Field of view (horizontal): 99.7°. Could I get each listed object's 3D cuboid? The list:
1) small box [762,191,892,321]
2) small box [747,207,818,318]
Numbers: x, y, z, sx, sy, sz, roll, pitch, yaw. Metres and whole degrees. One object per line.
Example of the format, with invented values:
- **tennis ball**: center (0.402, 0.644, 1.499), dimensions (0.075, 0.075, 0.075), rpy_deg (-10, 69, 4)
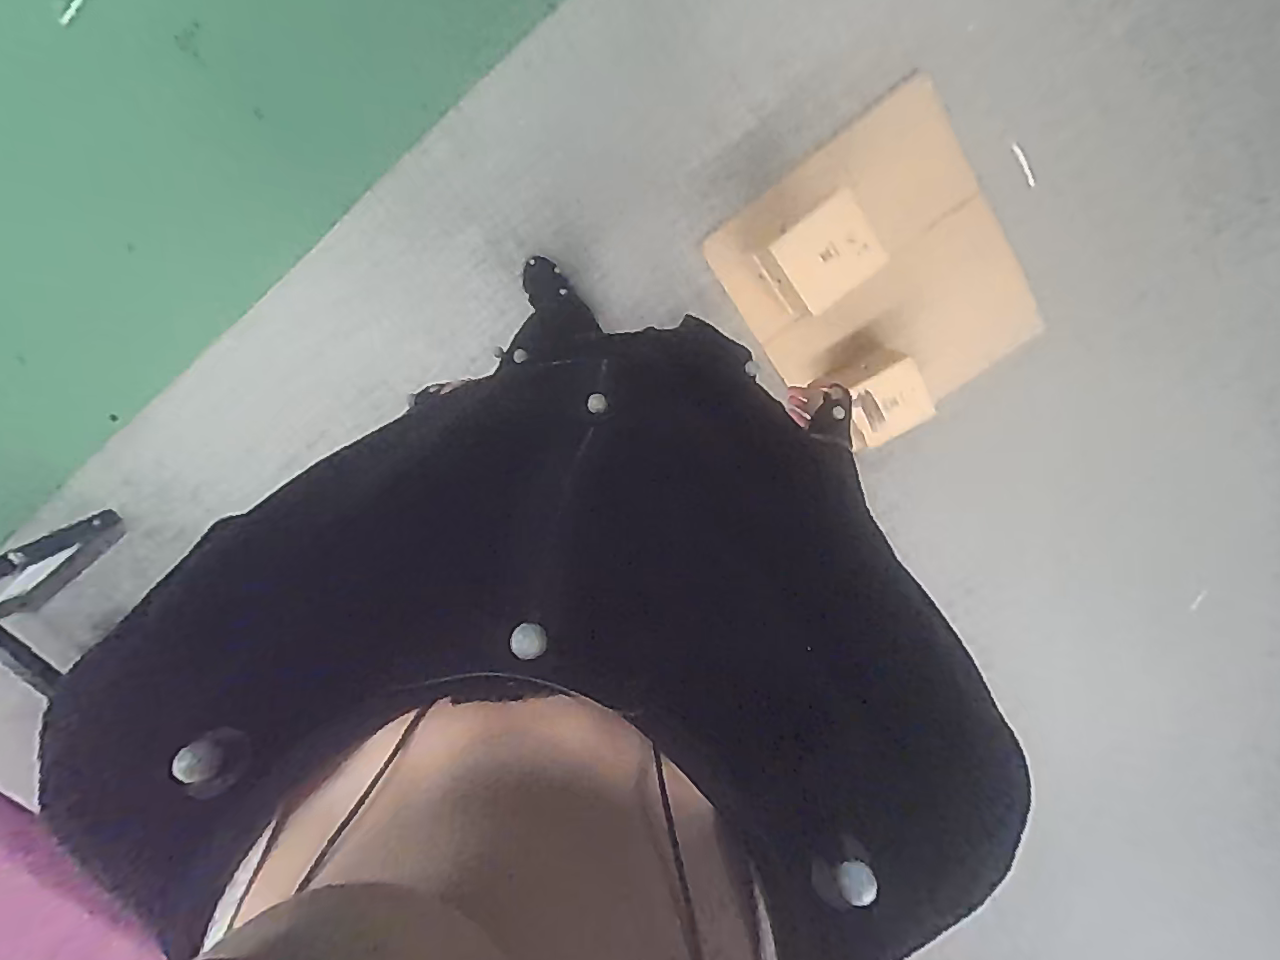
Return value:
- **small box**: center (0.366, -0.446, 1.099), dimensions (0.179, 0.176, 0.168), rpy_deg (-35, 106, 12)
- **small box**: center (0.366, -0.497, 1.256), dimensions (0.179, 0.176, 0.168), rpy_deg (-36, 105, 12)
